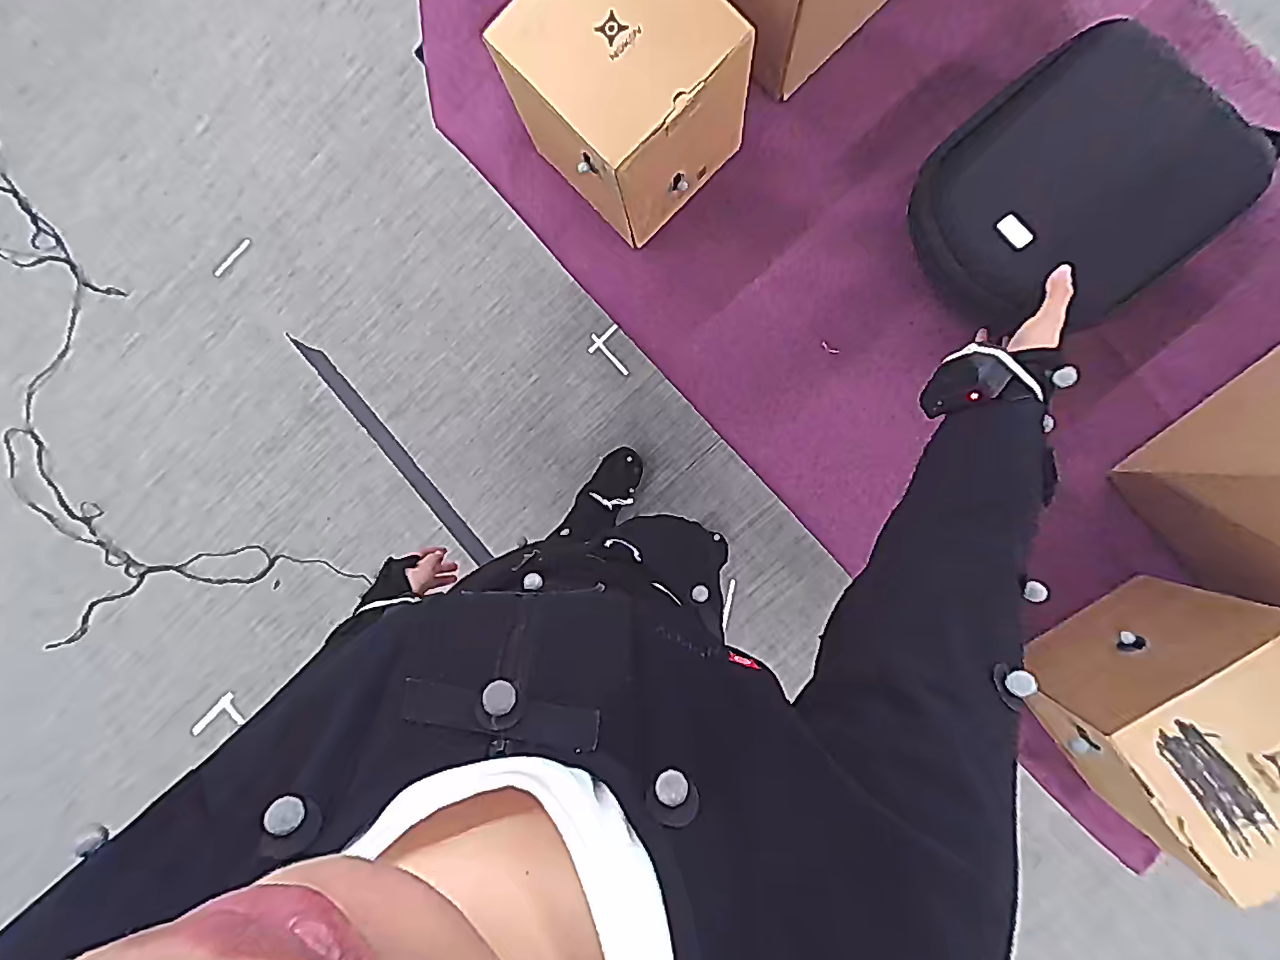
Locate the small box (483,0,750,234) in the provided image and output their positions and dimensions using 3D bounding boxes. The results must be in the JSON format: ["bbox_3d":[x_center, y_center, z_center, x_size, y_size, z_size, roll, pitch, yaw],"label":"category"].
[{"bbox_3d":[-0.017,-0.390,0.543,0.168,0.176,0.179,-44,88,5],"label":"small box"}]

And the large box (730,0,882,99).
[{"bbox_3d":[0.183,-0.656,0.440,0.408,0.320,0.320,-43,88,8],"label":"large box"}]
